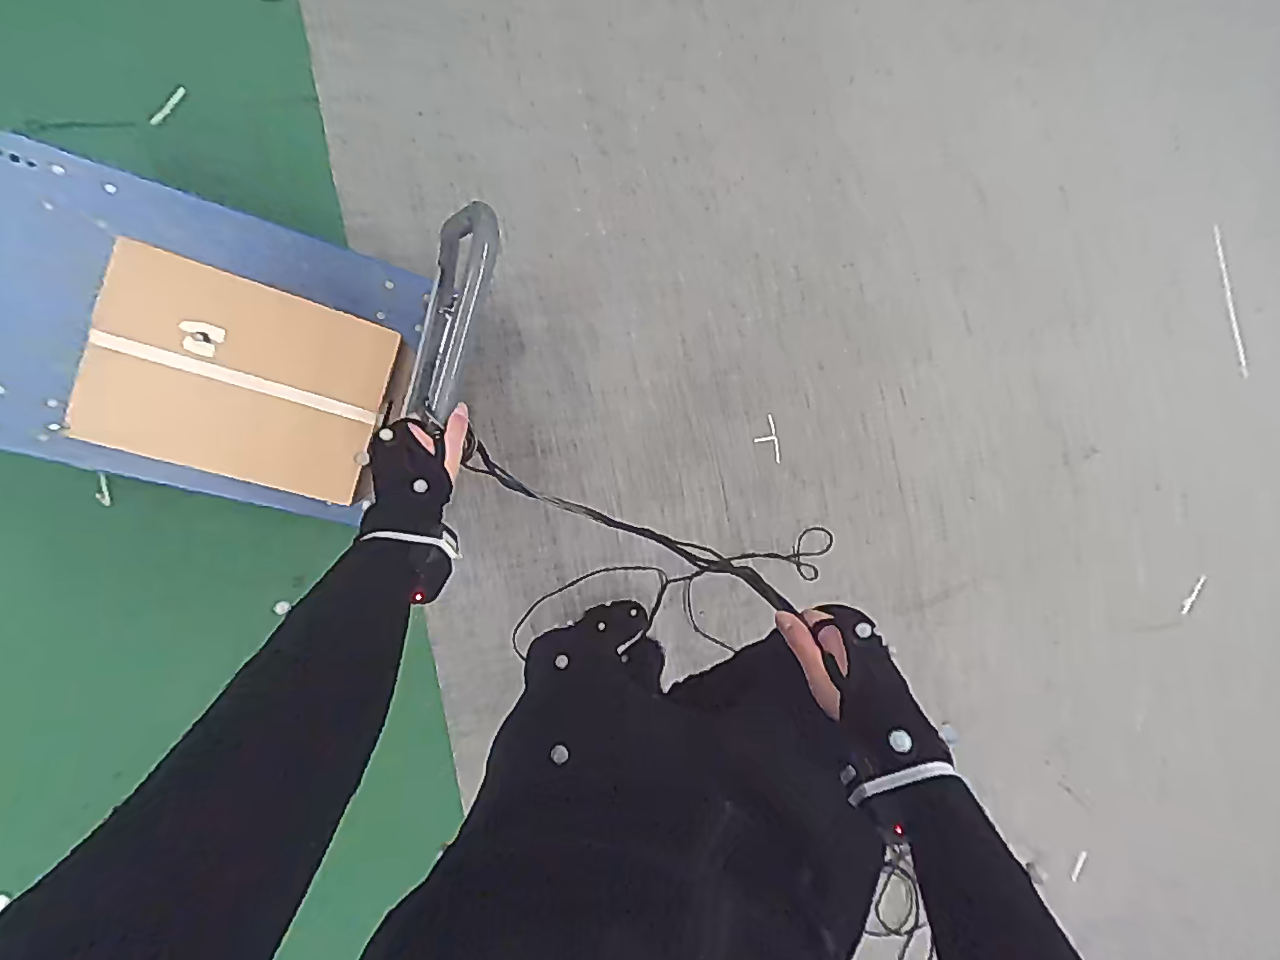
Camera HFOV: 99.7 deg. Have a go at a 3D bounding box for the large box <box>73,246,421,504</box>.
[{"bbox_3d":[-0.668,-0.169,1.008,0.408,0.320,0.320,17,90,-17],"label":"large box"}]
